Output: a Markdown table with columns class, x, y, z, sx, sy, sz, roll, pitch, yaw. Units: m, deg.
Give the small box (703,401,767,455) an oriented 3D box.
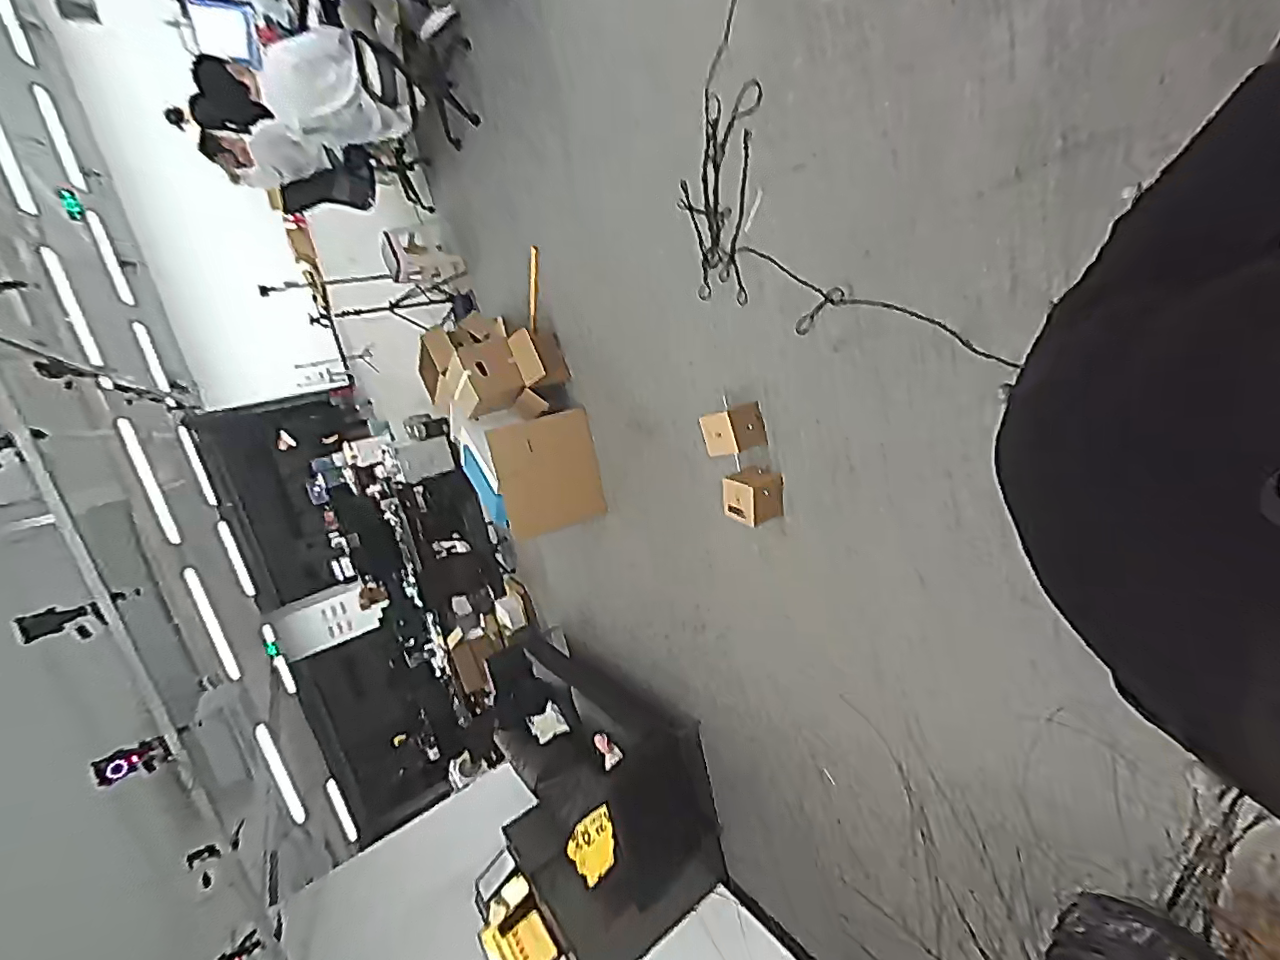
| class | x | y | z | sx | sy | sz | roll | pitch | yaw |
| --- | --- | --- | --- | --- | --- | --- | --- | --- | --- |
| small box | 0.383 | -0.207 | 2.140 | 0.179 | 0.176 | 0.168 | -4 | 104 | 59 |
